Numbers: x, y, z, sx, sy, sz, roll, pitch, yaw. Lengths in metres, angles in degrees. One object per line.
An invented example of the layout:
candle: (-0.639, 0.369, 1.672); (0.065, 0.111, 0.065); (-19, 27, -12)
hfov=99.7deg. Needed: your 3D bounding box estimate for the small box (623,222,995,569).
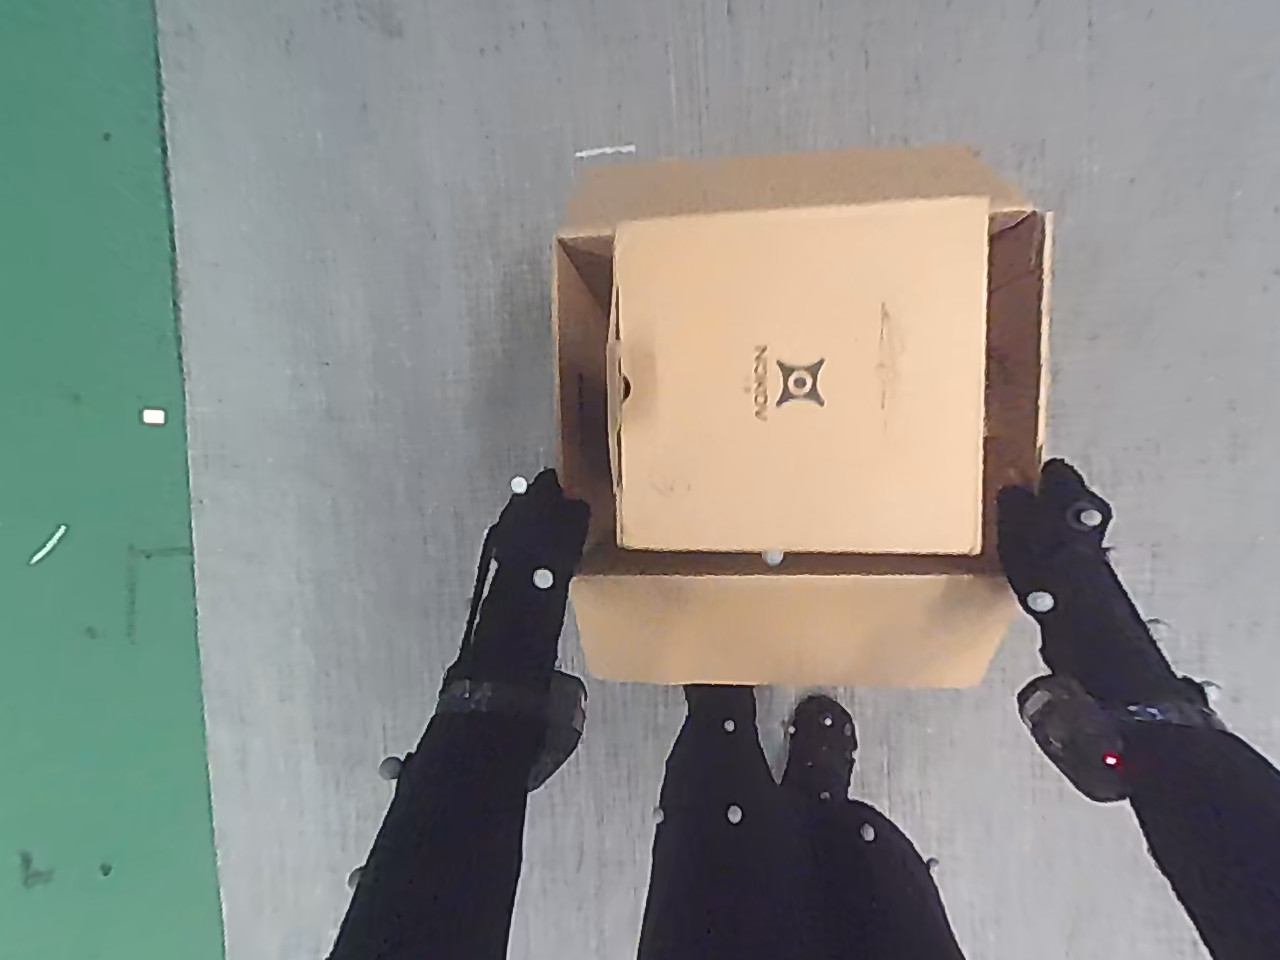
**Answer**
small box: (0.089, -0.042, 0.344); (0.179, 0.176, 0.168); (-2, 94, 6)
